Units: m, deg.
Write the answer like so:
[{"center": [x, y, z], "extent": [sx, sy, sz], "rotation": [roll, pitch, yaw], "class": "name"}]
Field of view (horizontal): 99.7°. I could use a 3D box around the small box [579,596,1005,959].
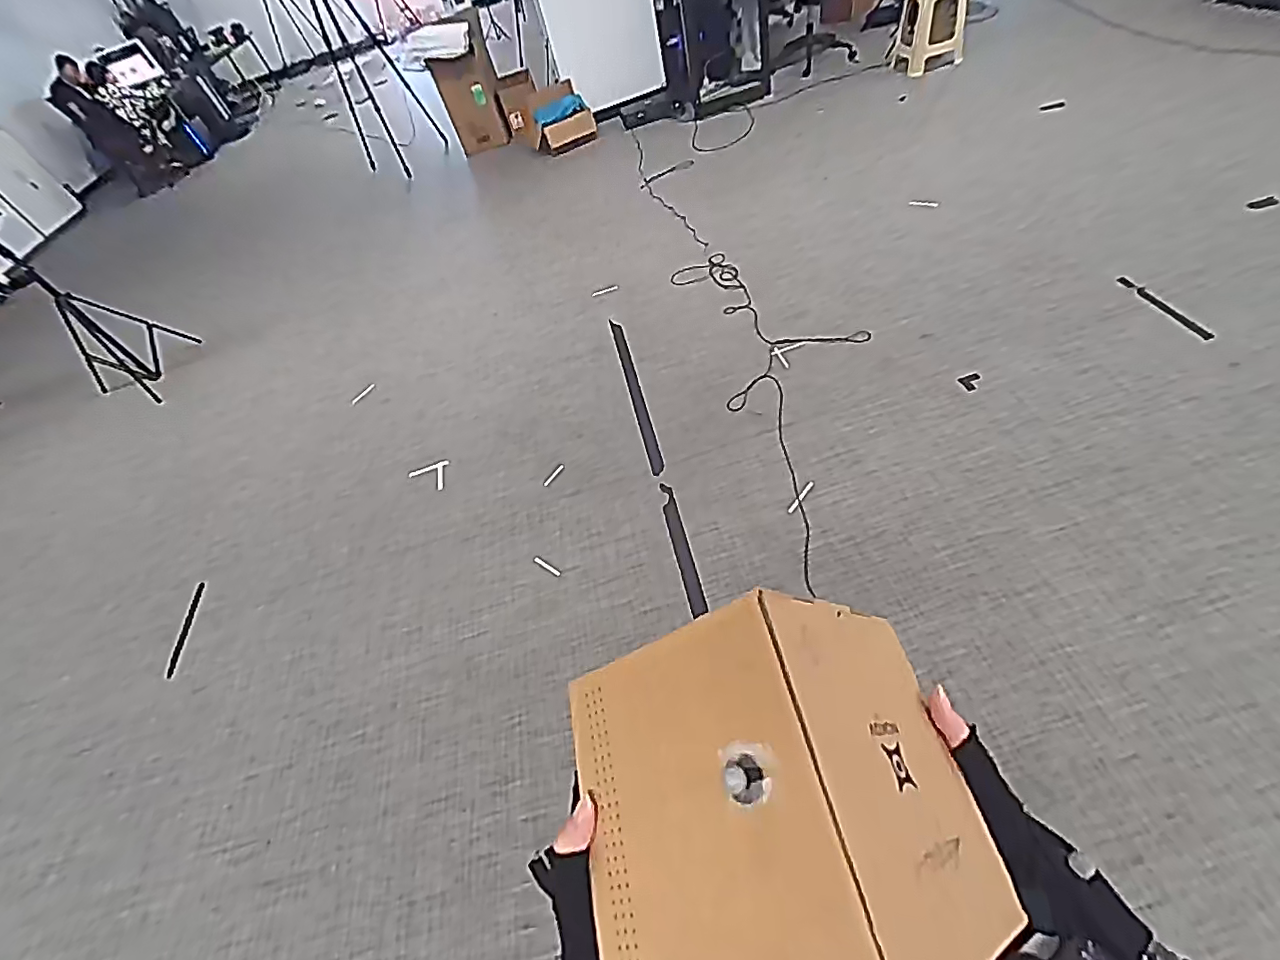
[{"center": [0.077, 0.197, 0.341], "extent": [0.176, 0.168, 0.179], "rotation": [-37, 49, 32], "class": "small box"}]
